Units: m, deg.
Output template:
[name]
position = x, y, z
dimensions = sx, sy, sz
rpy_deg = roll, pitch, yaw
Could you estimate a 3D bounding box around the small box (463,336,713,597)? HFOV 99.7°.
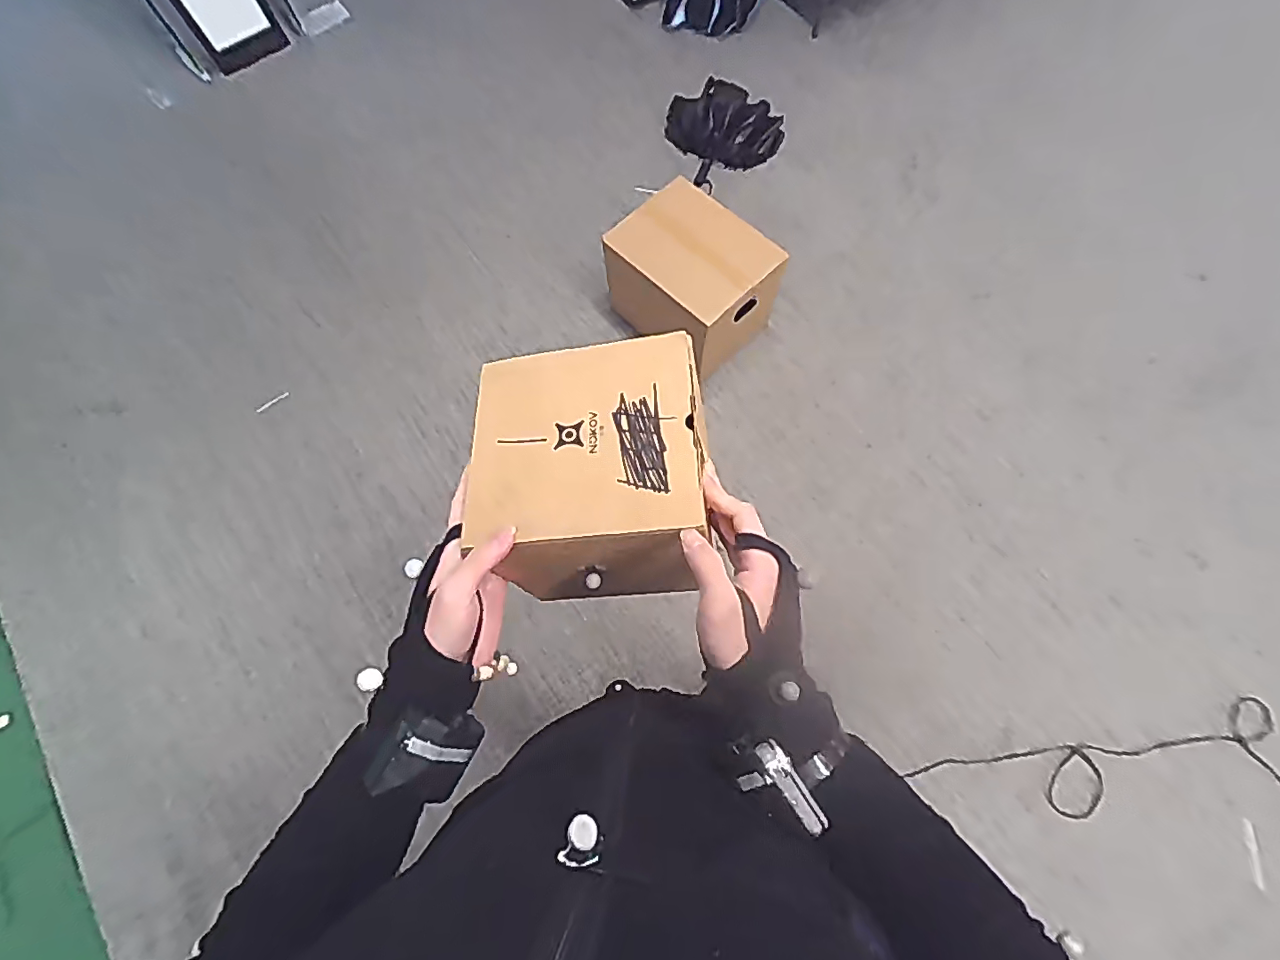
[small box]
position = -0.029, 0.001, 0.477
dimensions = 0.179, 0.176, 0.168
rpy_deg = -6, 64, 9
